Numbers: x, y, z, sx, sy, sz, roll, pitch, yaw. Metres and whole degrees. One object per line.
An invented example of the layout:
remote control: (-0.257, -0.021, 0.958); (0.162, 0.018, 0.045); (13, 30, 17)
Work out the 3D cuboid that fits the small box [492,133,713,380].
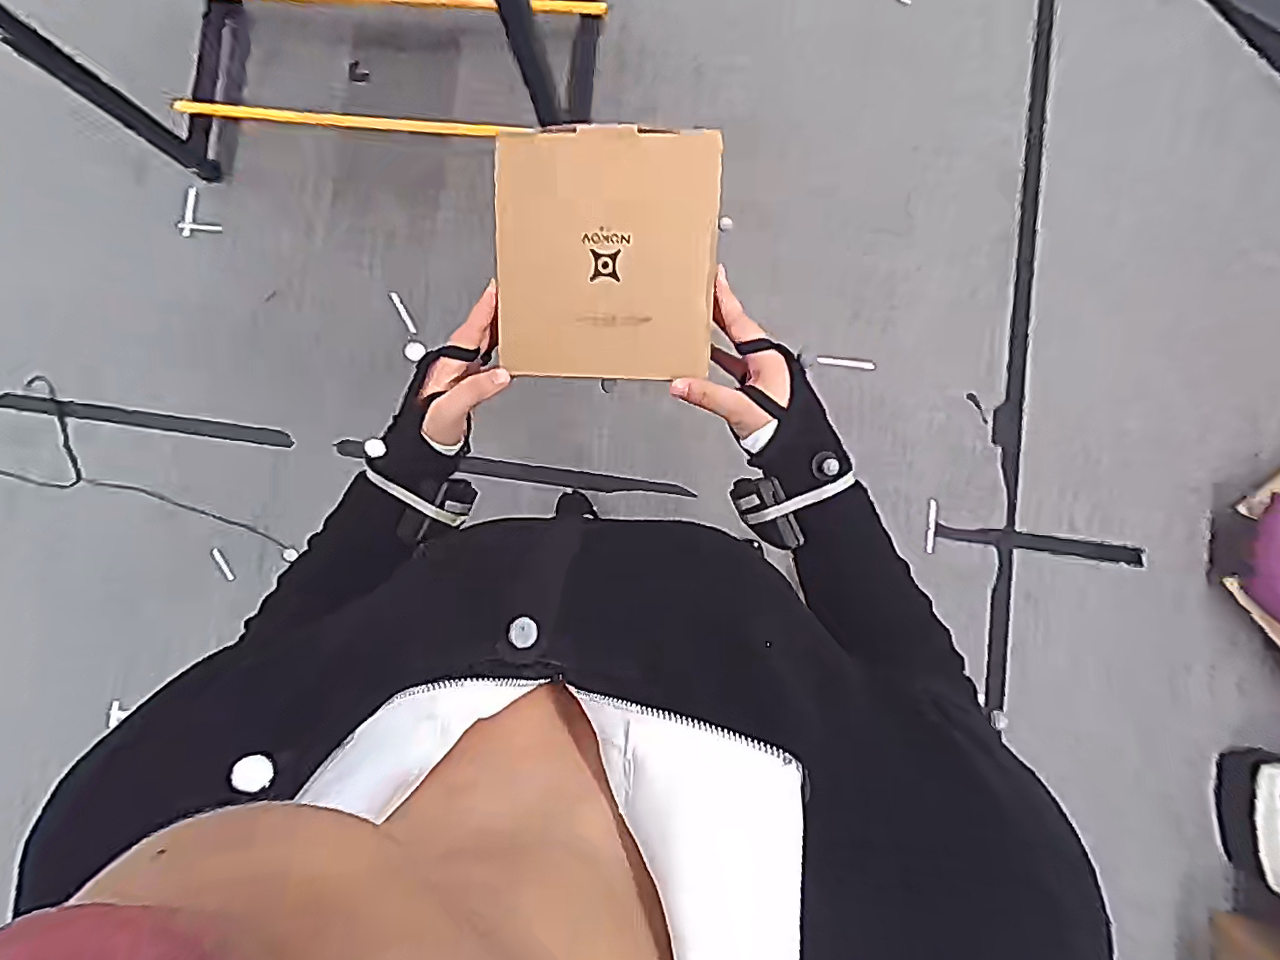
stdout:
small box: (-0.027, -0.183, 0.489); (0.168, 0.176, 0.179); (2, 102, 4)
